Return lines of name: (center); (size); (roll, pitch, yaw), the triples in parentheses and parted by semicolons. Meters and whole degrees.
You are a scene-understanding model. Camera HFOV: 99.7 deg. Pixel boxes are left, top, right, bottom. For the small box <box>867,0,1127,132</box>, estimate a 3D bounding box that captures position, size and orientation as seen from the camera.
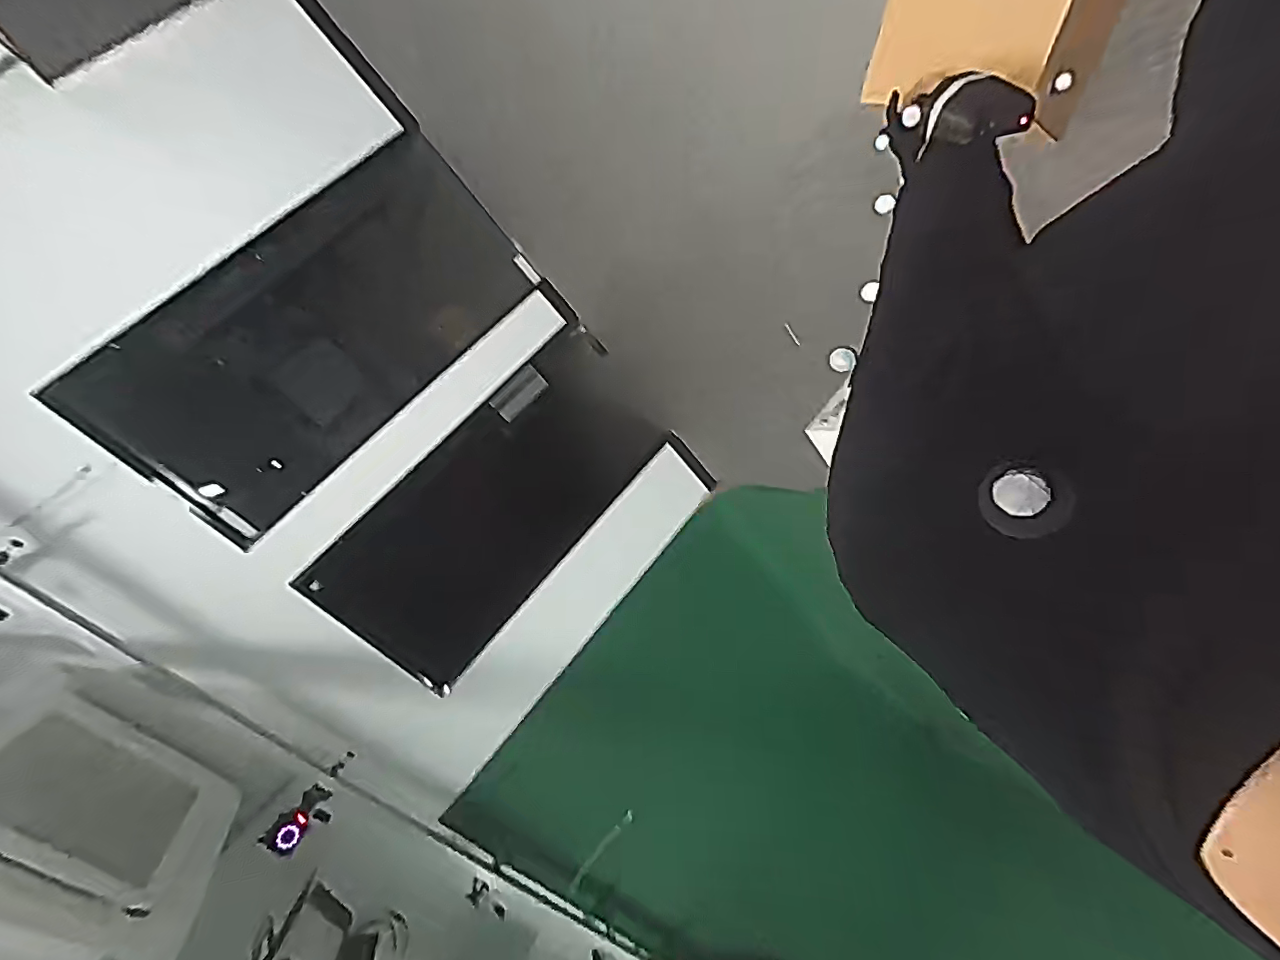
small box: (0.365, -0.465, 0.536); (0.168, 0.179, 0.176); (33, 127, 34)
